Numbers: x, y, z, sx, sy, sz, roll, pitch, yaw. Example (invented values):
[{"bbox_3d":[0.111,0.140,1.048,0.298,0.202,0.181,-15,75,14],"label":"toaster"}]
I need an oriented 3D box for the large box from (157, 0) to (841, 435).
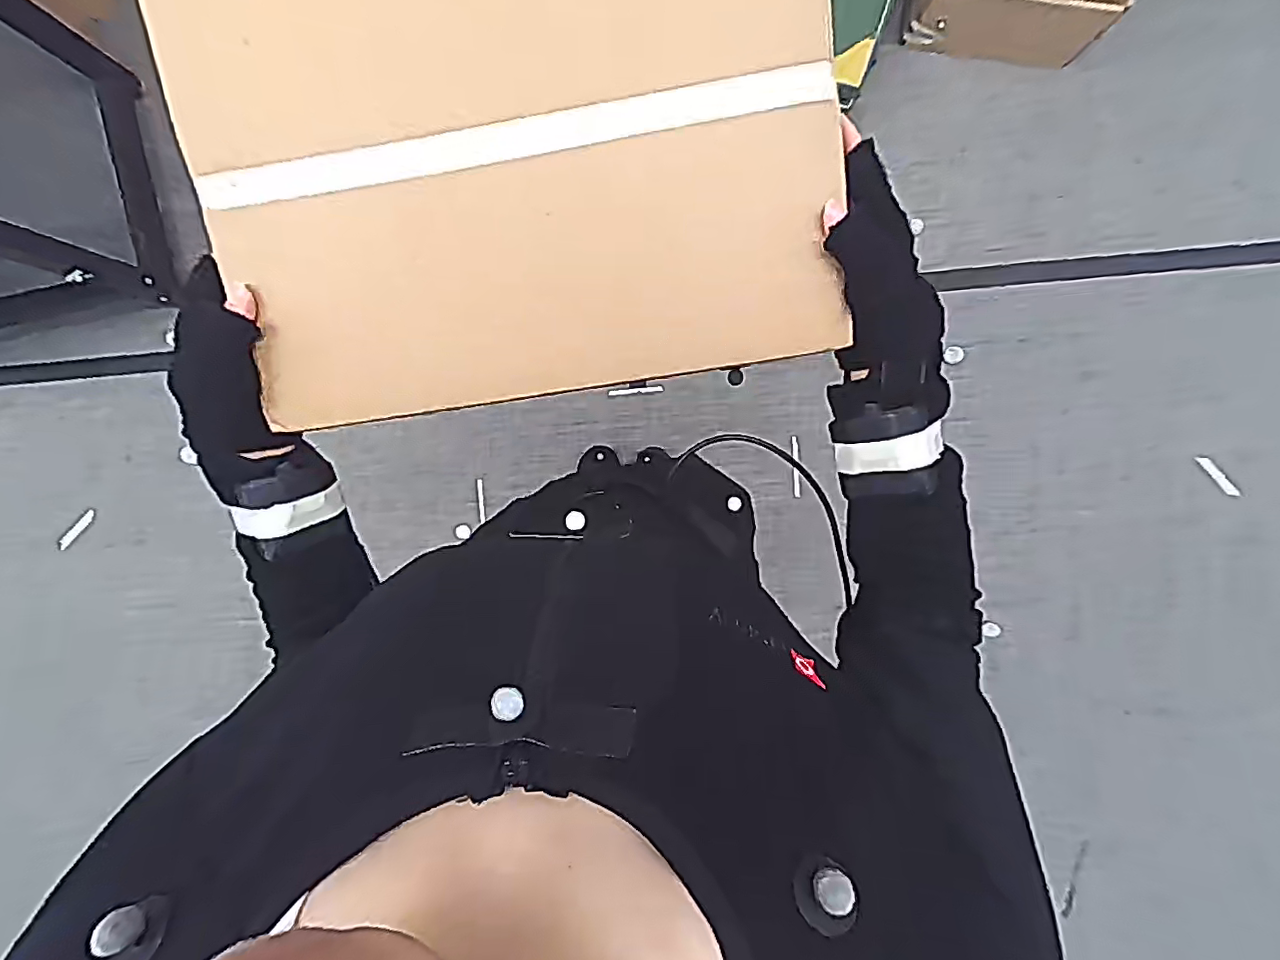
[{"bbox_3d":[-0.077,-0.244,0.491,0.408,0.320,0.320,-8,102,3],"label":"large box"}]
